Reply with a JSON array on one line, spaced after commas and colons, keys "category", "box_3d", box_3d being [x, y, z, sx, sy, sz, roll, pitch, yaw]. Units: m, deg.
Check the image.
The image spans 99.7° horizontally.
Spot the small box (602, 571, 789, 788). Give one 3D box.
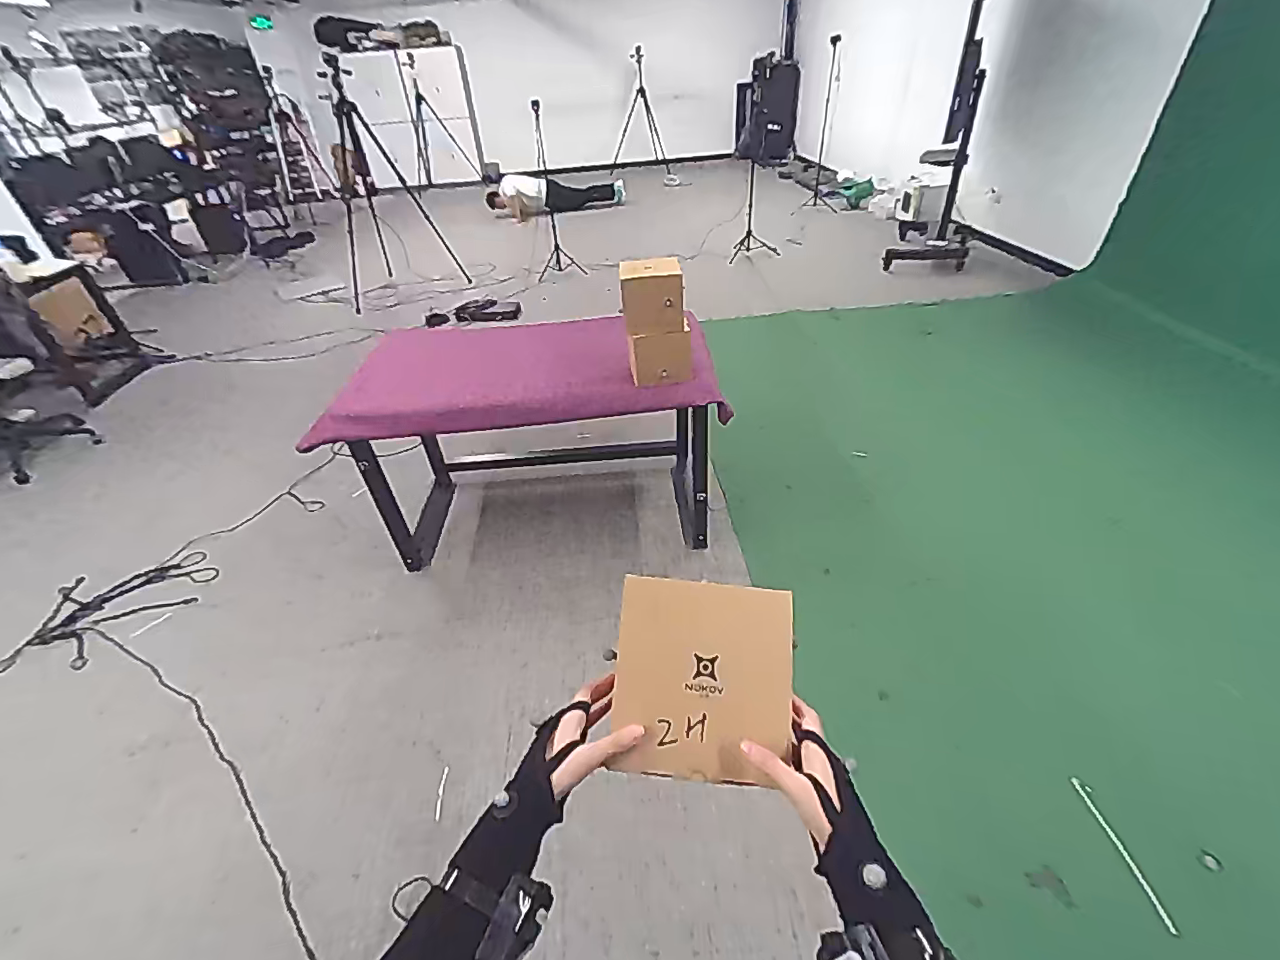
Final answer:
[{"category": "small box", "box_3d": [0.054, 0.205, 0.578, 0.168, 0.176, 0.179, 6, 72, 1]}]

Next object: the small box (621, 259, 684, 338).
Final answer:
[{"category": "small box", "box_3d": [0.039, -0.532, 1.589, 0.179, 0.176, 0.168, -5, 38, 2]}]

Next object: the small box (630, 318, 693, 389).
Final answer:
[{"category": "small box", "box_3d": [0.064, -0.400, 1.682, 0.179, 0.176, 0.168, -8, 37, -3]}]
